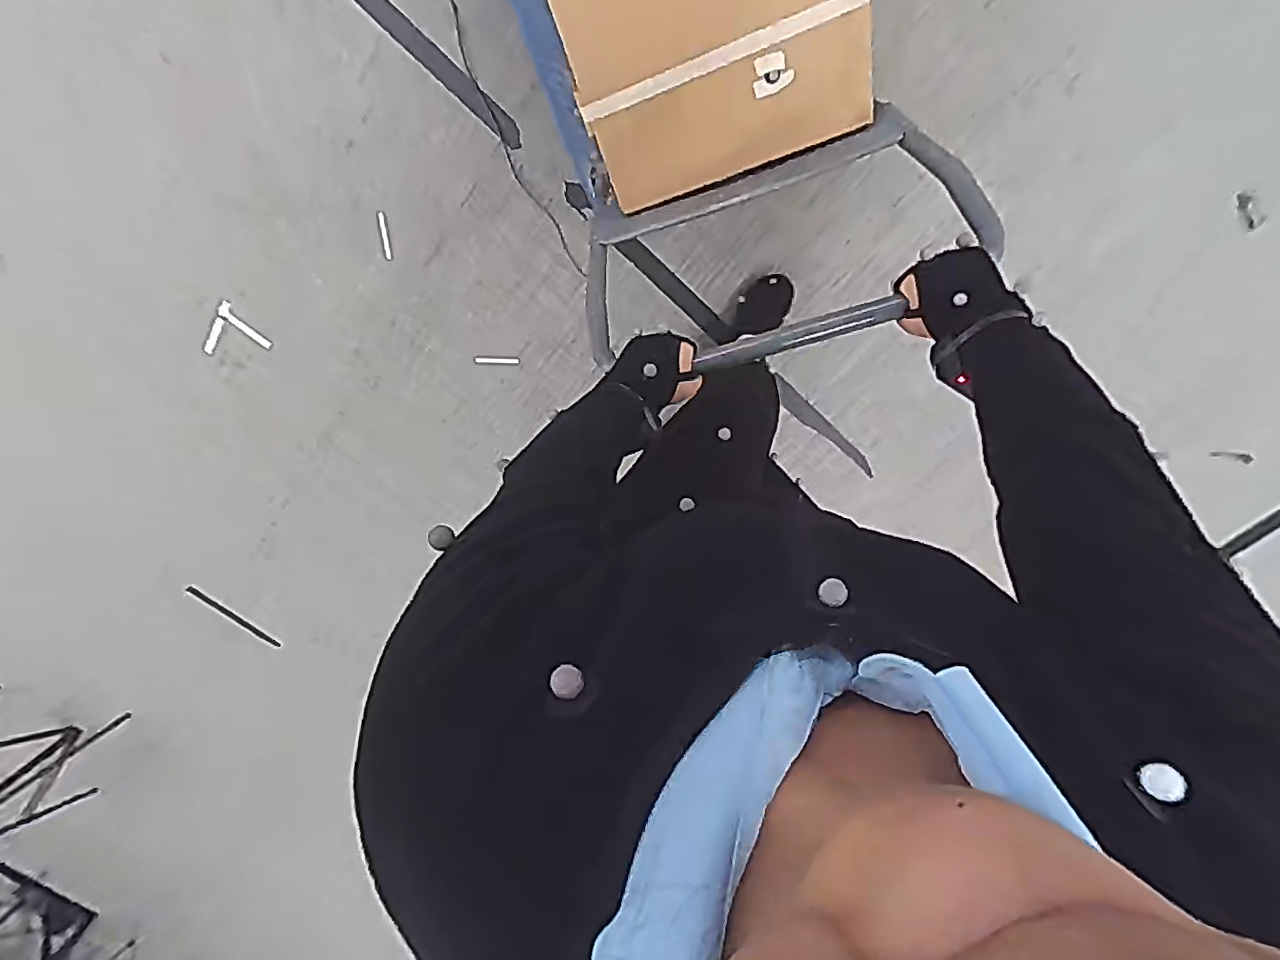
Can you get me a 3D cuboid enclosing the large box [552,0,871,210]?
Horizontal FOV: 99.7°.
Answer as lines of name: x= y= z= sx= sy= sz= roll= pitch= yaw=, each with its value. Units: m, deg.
large box: x=0.110 y=-0.711 z=0.879 sx=0.408 sy=0.320 sz=0.320 roll=-16 pitch=132 yaw=13
